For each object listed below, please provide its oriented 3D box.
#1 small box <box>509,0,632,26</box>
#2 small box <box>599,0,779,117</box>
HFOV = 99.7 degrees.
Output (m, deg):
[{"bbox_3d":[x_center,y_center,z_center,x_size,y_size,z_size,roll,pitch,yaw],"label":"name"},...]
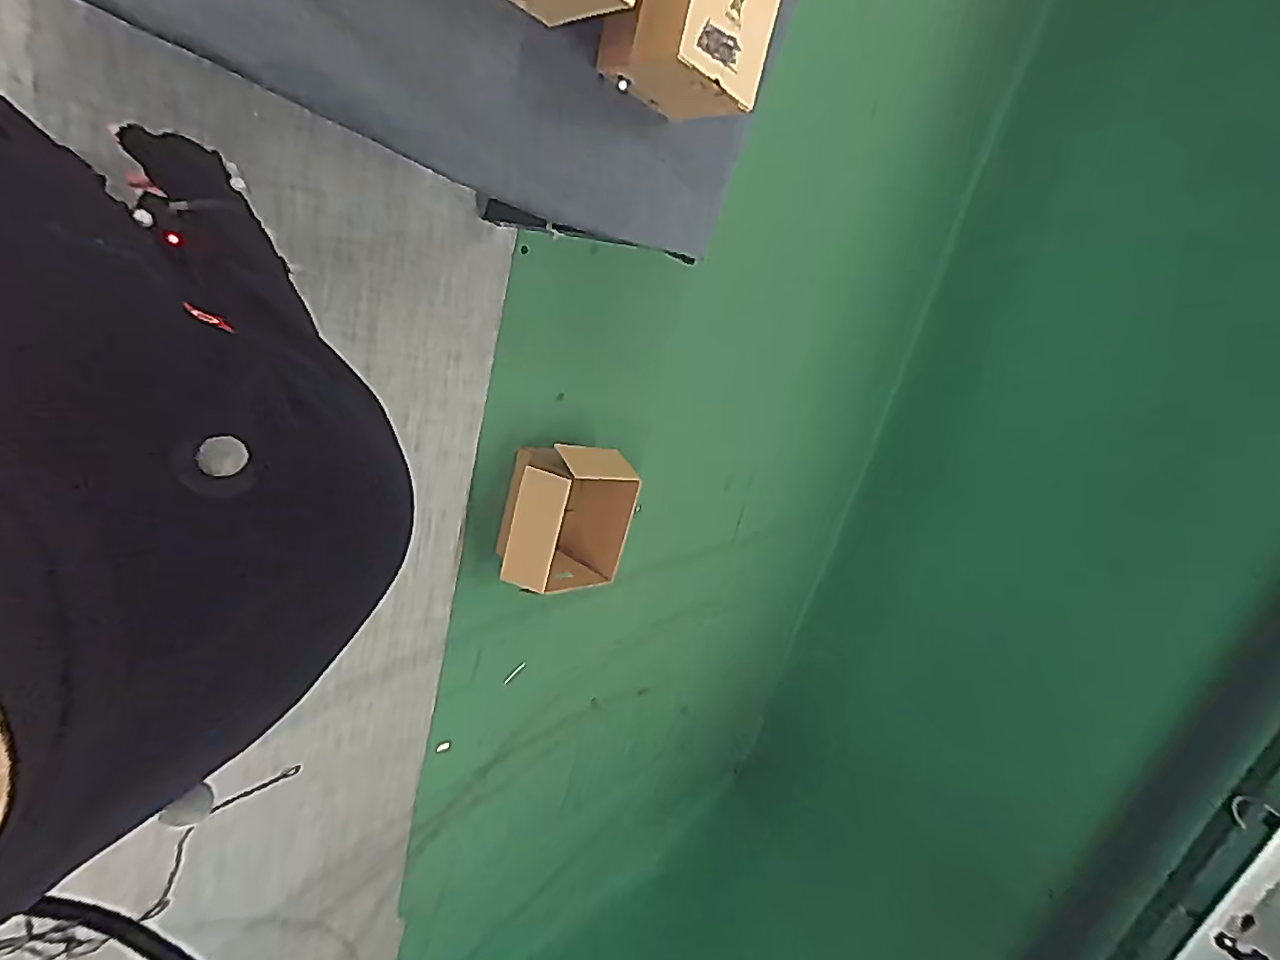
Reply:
[{"bbox_3d":[-0.101,-0.631,0.574,0.168,0.176,0.179,-4,114,-46],"label":"small box"},{"bbox_3d":[0.064,-0.632,0.748,0.168,0.176,0.179,-4,114,-46],"label":"small box"}]
